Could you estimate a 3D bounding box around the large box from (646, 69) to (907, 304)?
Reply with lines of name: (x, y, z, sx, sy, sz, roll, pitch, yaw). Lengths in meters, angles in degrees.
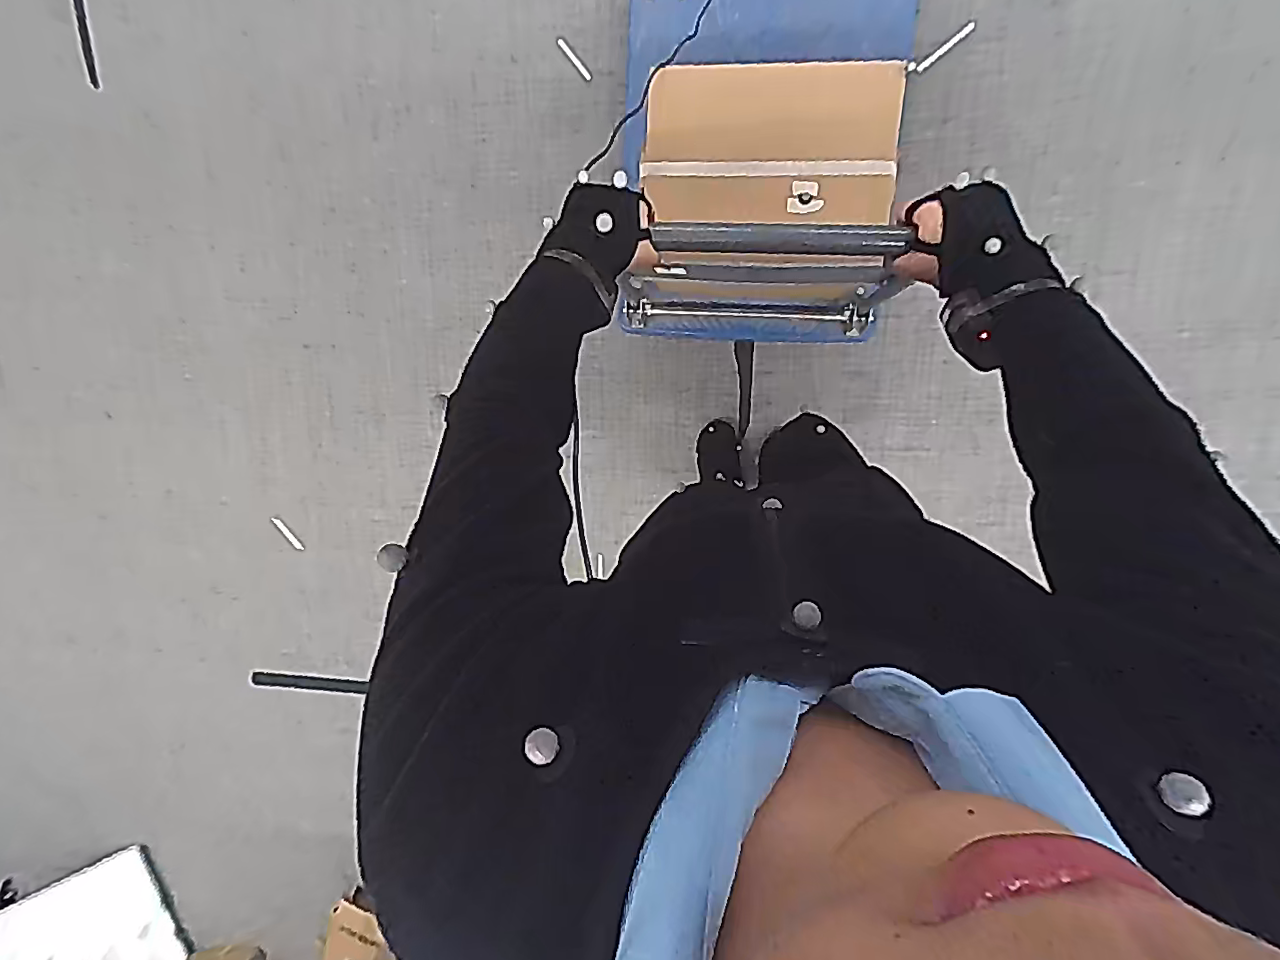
large box: (0.228, -0.519, 1.026, 0.408, 0.320, 0.320, 4, 101, 7)
